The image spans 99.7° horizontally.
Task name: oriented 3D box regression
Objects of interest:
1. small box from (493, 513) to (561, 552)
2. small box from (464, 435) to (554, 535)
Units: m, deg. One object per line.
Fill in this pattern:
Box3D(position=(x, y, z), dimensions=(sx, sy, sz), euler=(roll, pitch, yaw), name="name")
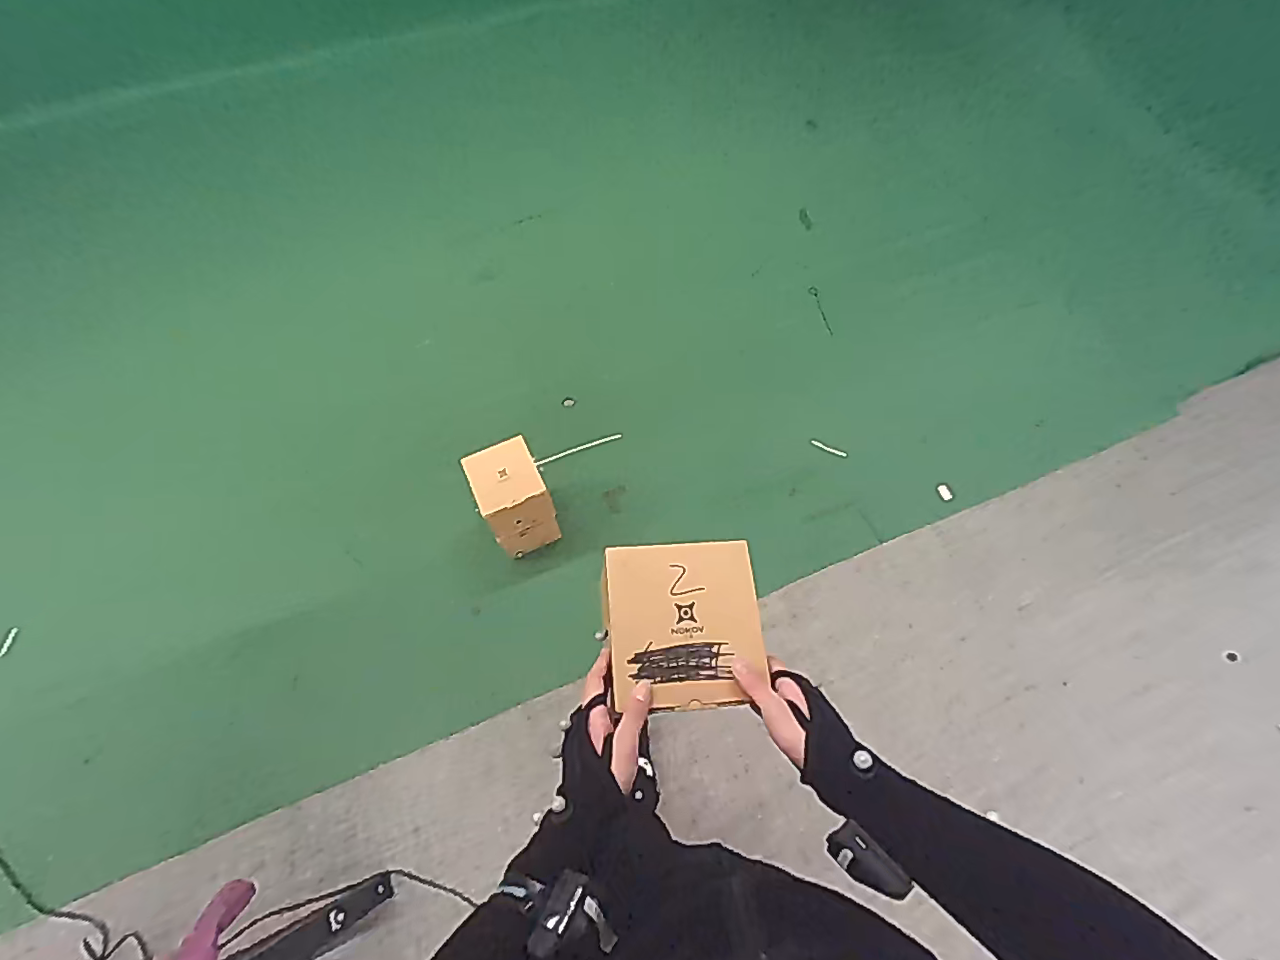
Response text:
Box3D(position=(-0.338, 0.092, 1.551), dimensions=(0.168, 0.176, 0.179), euler=(-23, 67, -11), name="small box")
Box3D(position=(-0.336, 0.017, 1.407), dimensions=(0.168, 0.176, 0.179), euler=(-24, 69, -12), name="small box")
